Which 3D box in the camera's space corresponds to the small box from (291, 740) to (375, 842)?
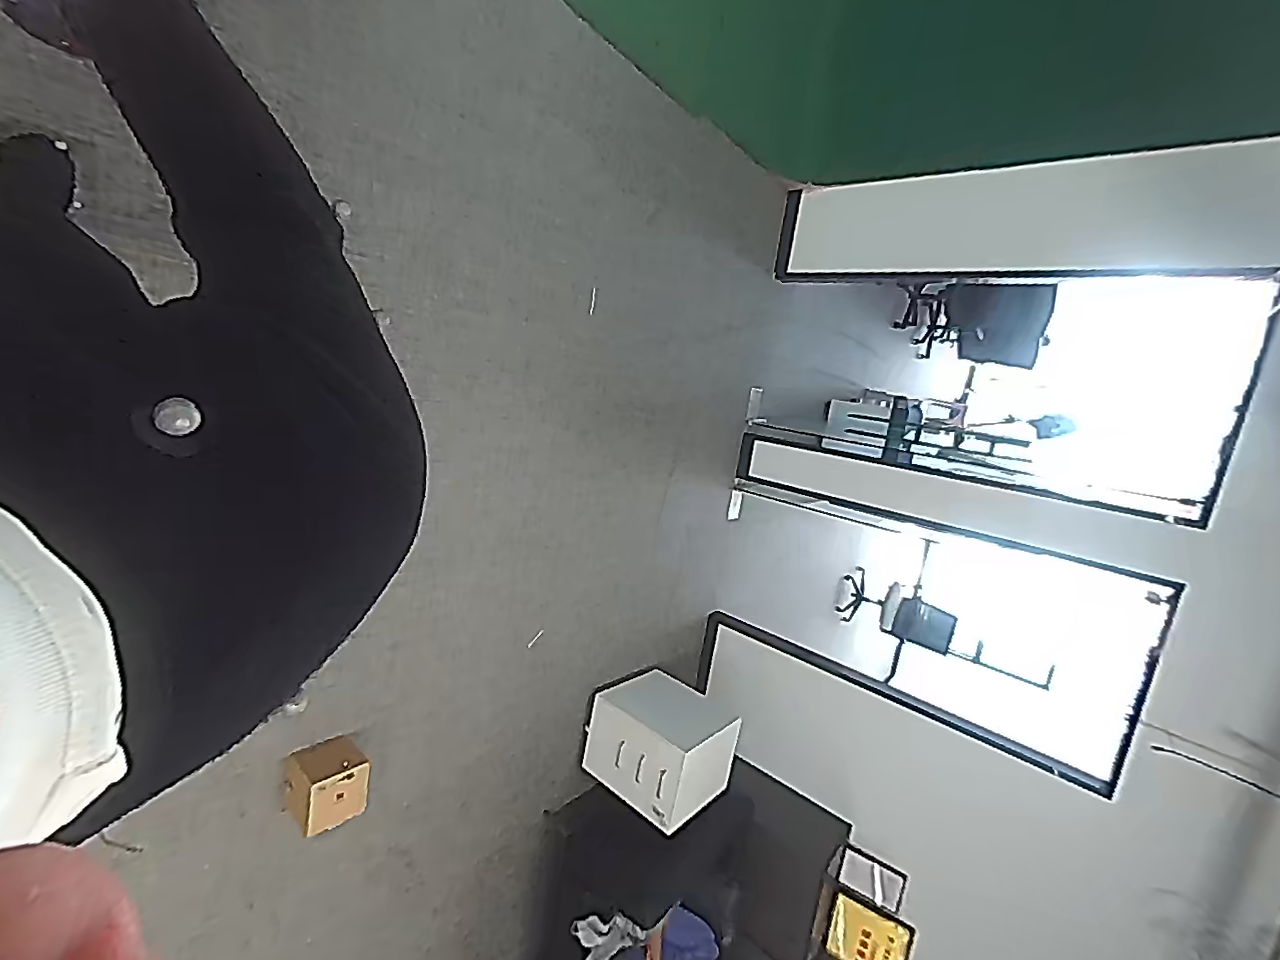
[{"bbox_3d":[-0.929,0.929,1.632,0.168,0.176,0.179,0,103,-52],"label":"small box"}]
